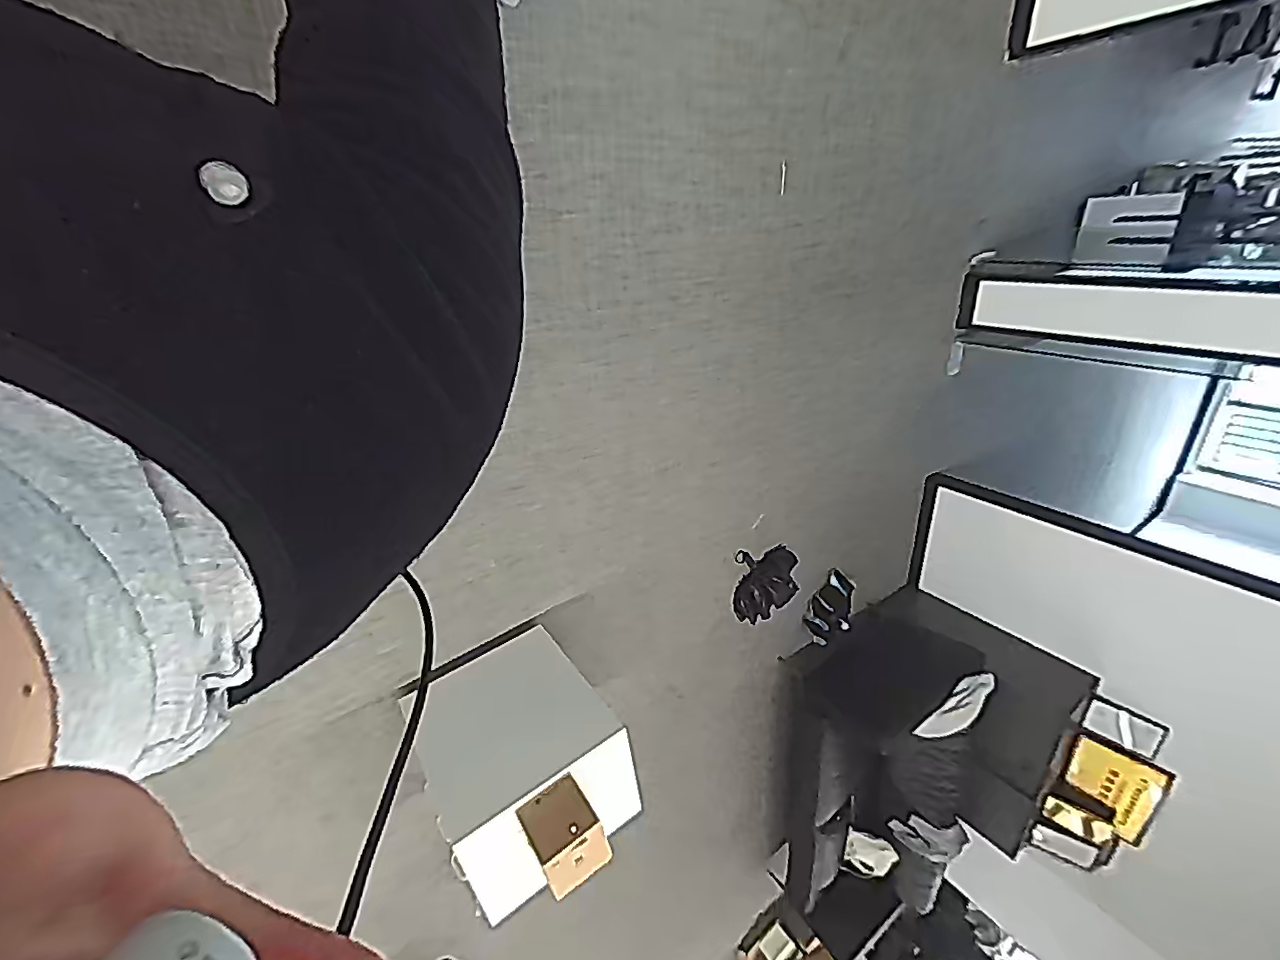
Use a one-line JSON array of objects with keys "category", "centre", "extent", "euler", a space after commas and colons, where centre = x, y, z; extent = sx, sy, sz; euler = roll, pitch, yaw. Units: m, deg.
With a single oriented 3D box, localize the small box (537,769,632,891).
[{"category": "small box", "centre": [-0.145, 0.898, 1.401], "extent": [0.168, 0.176, 0.179], "euler": [-28, 125, -26]}]
